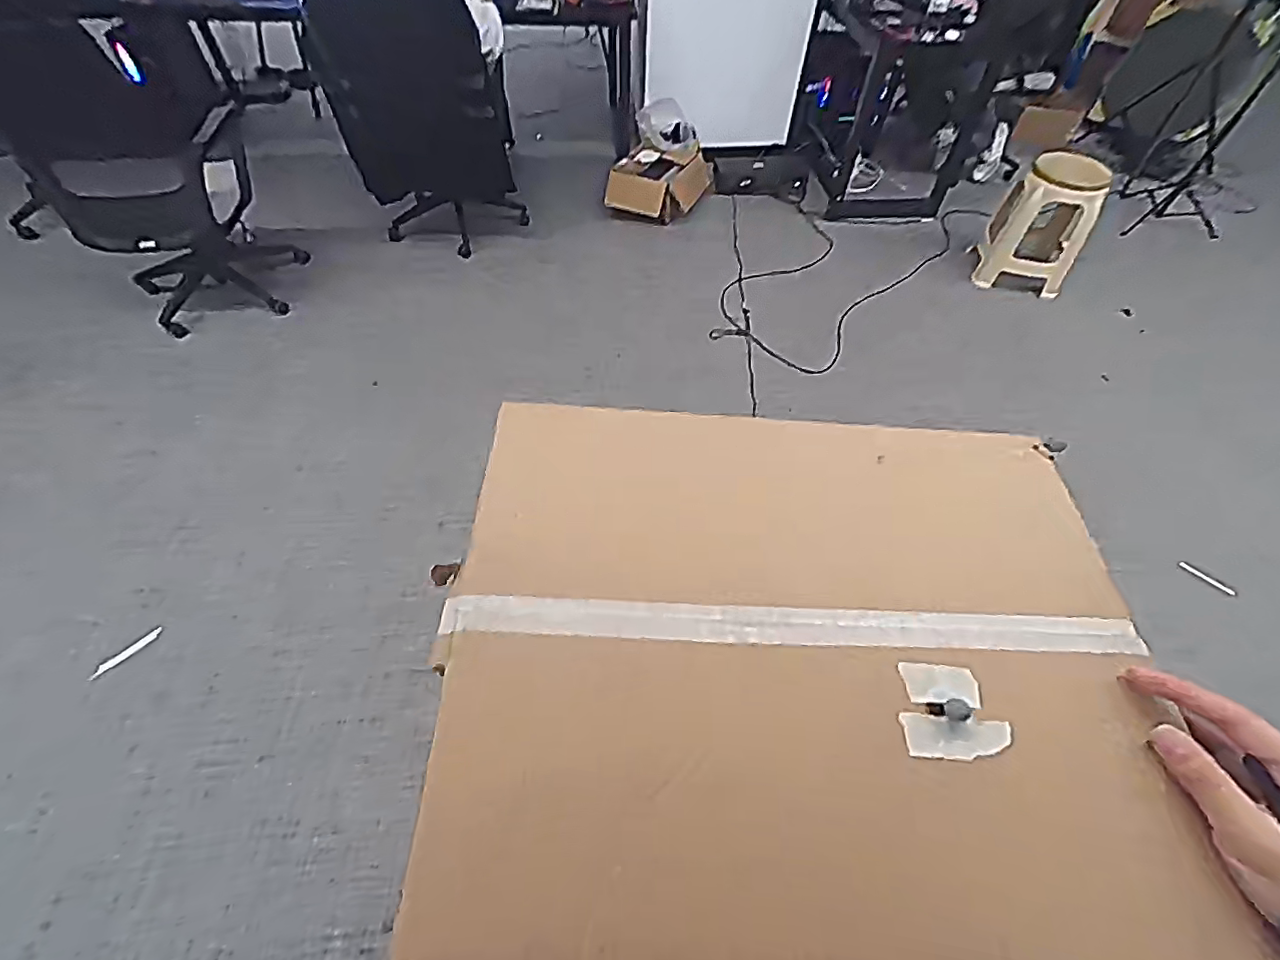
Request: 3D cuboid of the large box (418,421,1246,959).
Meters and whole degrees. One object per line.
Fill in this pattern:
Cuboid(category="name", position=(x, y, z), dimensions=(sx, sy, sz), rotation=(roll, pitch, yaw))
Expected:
Cuboid(category="large box", position=(0.084, 0.173, 0.451), dimensions=(0.408, 0.320, 0.320), rotation=(3, 58, -4))
